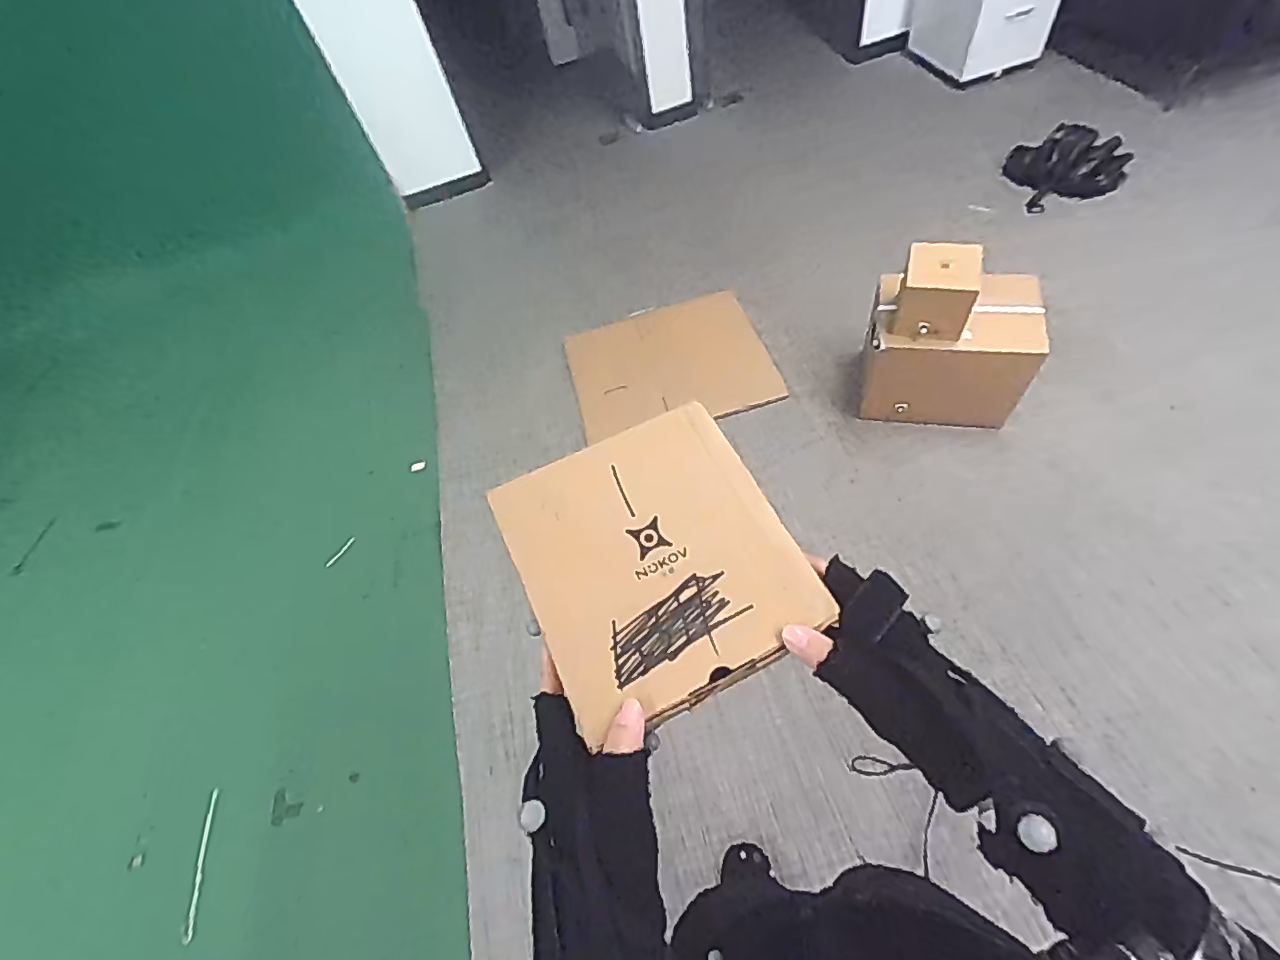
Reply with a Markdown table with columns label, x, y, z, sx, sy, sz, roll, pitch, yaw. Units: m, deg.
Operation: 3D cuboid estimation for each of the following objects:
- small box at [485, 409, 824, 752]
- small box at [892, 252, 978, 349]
| label | x | y | z | sx | sy | sz | roll | pitch | yaw |
| --- | --- | --- | --- | --- | --- | --- | --- | --- | --- |
| small box | 0.008 | 0.084 | 0.423 | 0.168 | 0.176 | 0.179 | -27 | 67 | -11 |
| small box | 0.772 | -0.473 | 1.426 | 0.168 | 0.176 | 0.179 | 9 | 61 | 19 |
